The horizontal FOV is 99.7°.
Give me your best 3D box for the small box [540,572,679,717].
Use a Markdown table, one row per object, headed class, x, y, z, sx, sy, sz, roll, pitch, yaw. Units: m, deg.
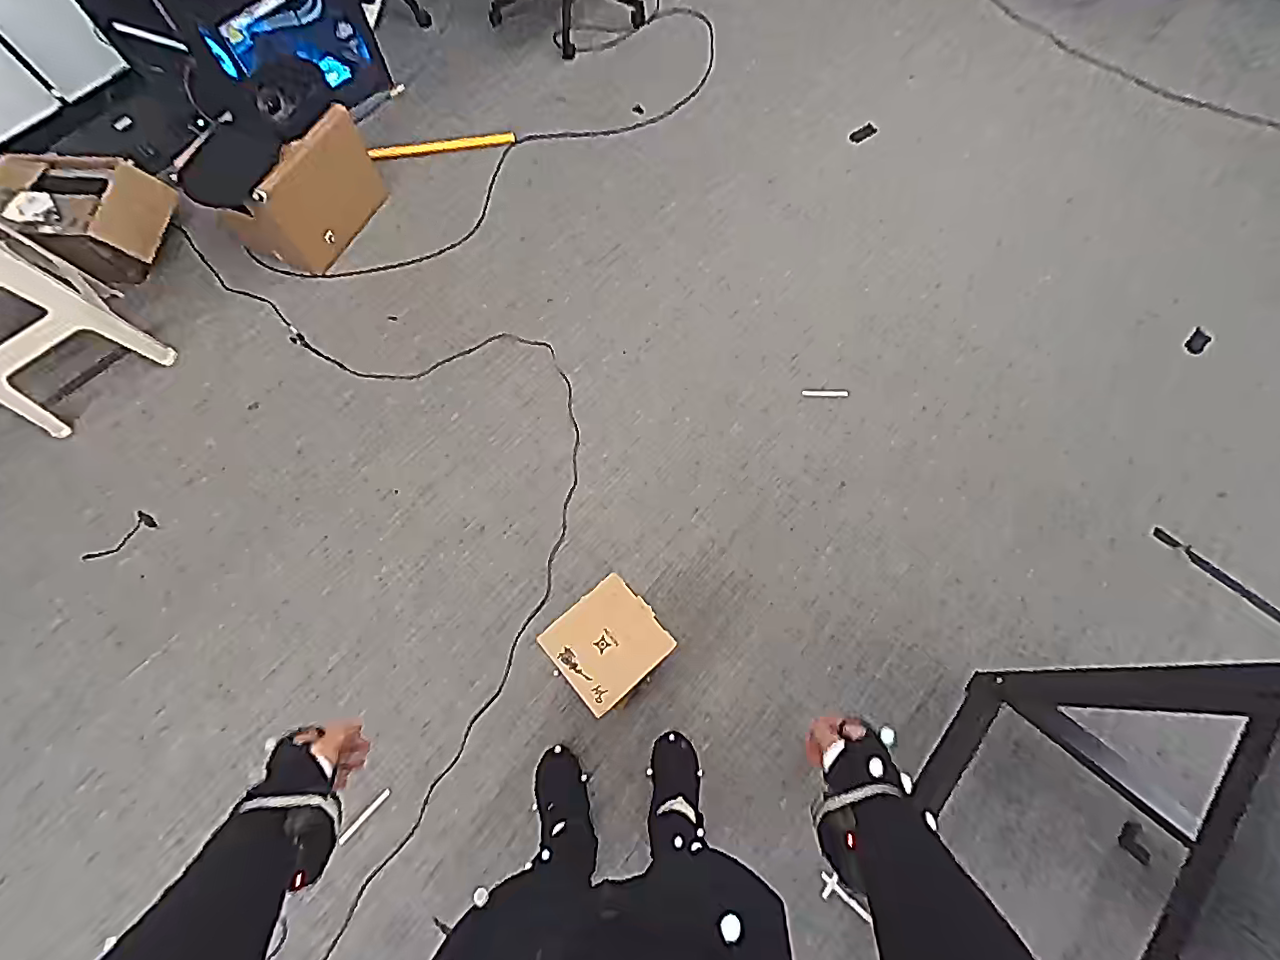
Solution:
| class | x | y | z | sx | sy | sz | roll | pitch | yaw |
| --- | --- | --- | --- | --- | --- | --- | --- | --- | --- |
| small box | -0.055 | 0.294 | 0.968 | 0.179 | 0.176 | 0.168 | -39 | 75 | -15 |
